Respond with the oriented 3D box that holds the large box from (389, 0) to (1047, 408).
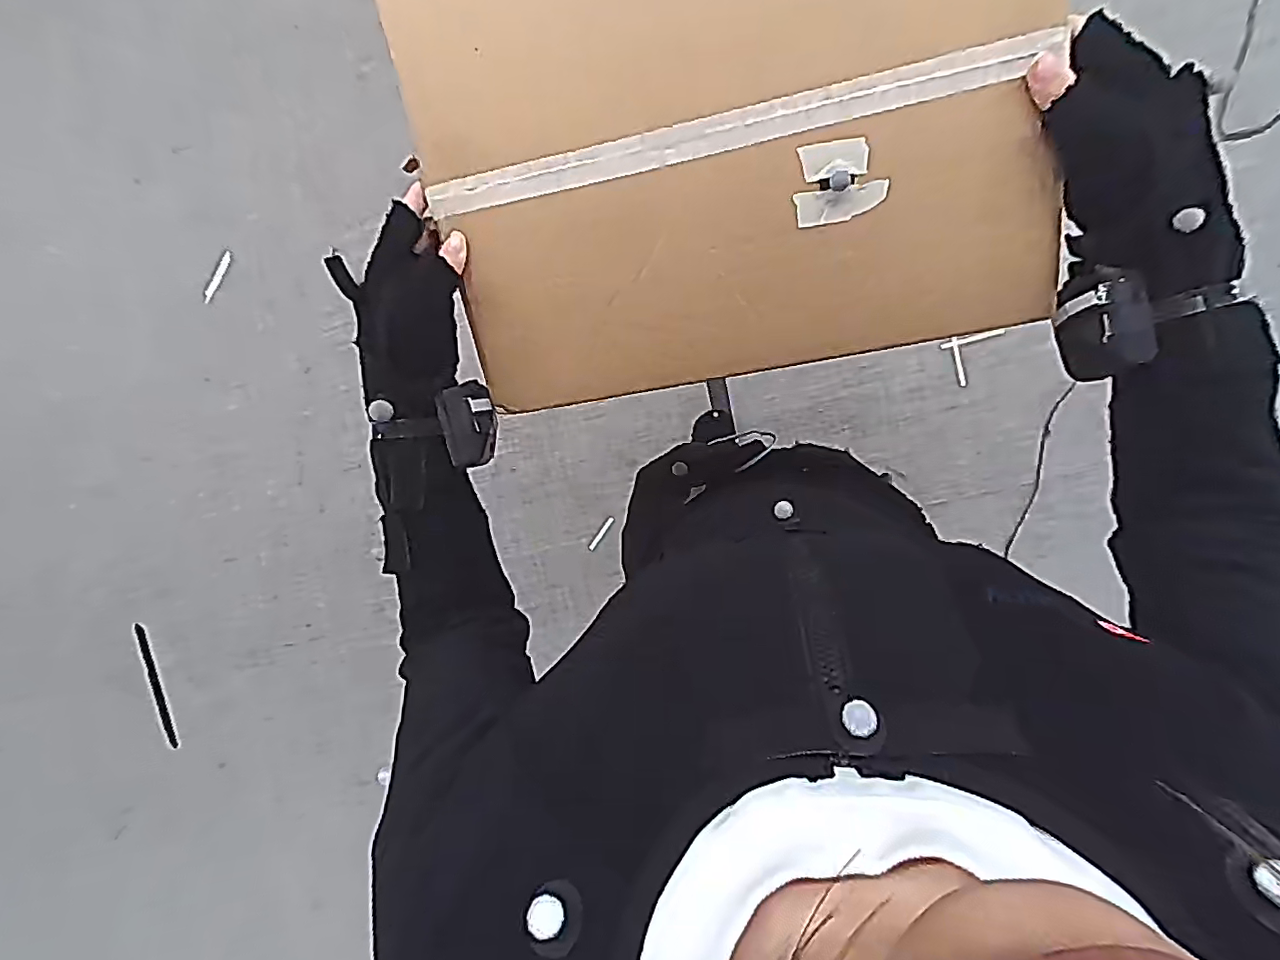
[{"bbox_3d":[0.065,-0.281,0.501,0.408,0.320,0.320,-10,109,8],"label":"large box"}]
